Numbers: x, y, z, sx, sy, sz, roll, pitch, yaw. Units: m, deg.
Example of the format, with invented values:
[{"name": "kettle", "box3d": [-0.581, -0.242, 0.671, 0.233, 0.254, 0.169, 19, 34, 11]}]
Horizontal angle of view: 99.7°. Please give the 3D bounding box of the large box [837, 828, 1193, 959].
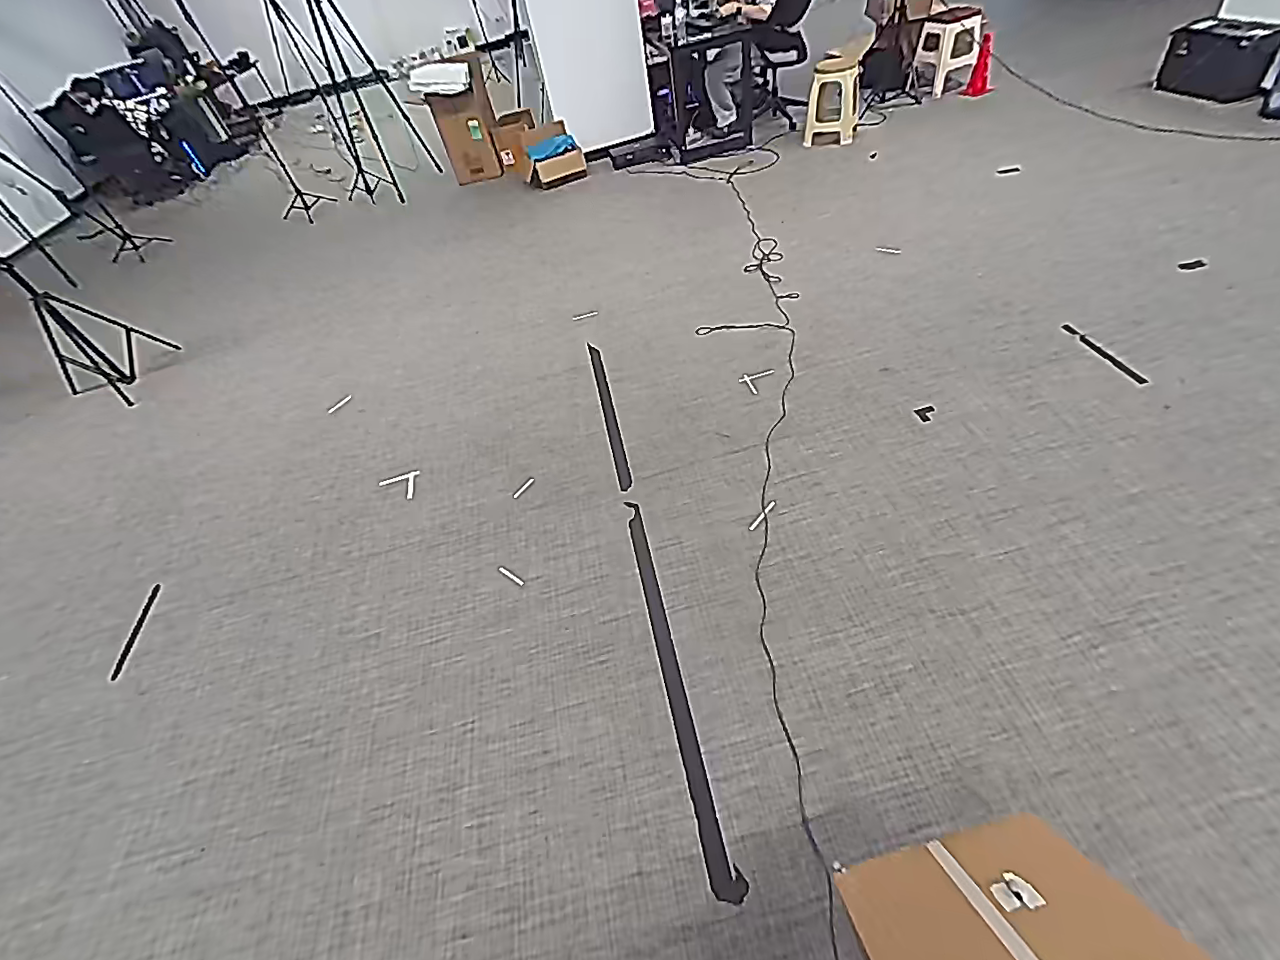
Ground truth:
[{"name": "large box", "box3d": [0.479, 0.692, 0.604, 0.320, 0.408, 0.320, -17, 84, 1]}]
